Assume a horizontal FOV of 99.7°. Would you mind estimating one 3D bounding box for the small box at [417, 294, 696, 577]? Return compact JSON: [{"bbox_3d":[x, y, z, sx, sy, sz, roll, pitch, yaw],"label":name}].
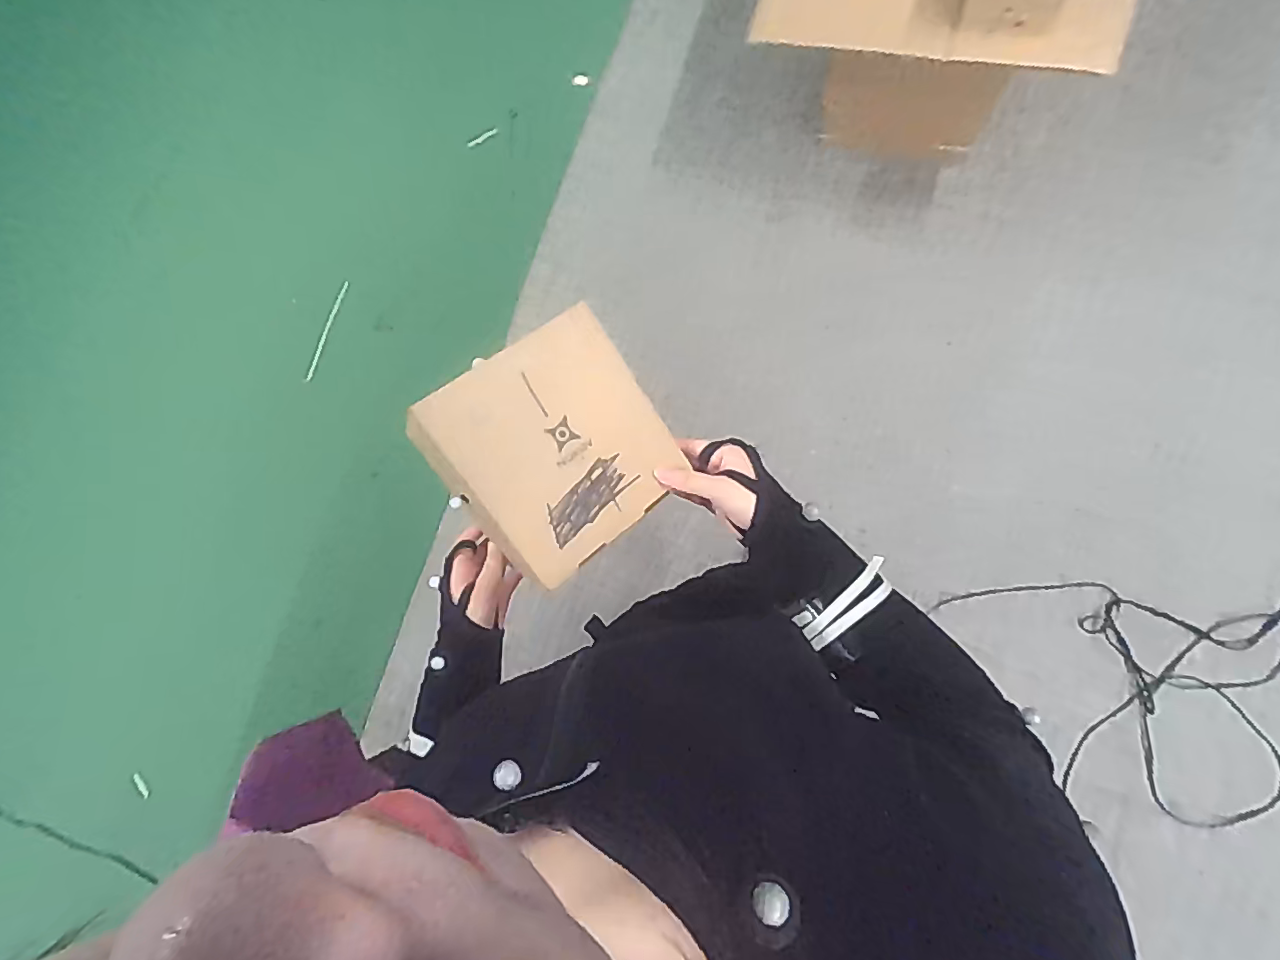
[{"bbox_3d":[-0.085,-0.037,0.505,0.168,0.176,0.179,-37,102,-20],"label":"small box"}]
